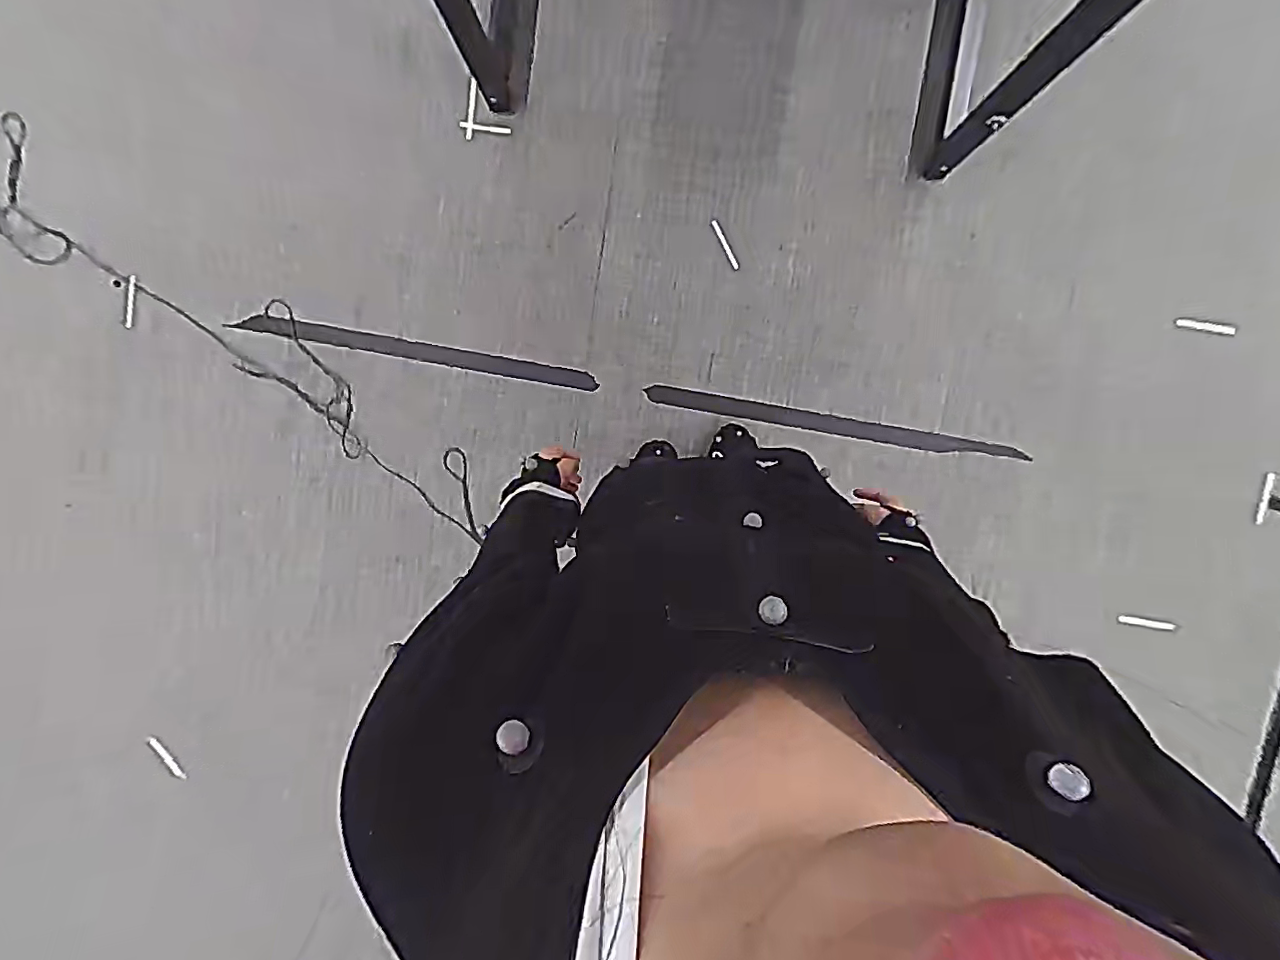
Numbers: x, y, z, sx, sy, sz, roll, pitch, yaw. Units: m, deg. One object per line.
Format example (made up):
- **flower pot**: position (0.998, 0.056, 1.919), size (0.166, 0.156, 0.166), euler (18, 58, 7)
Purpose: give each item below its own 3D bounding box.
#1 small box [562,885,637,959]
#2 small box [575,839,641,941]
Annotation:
- **small box**: position (-0.095, 1.155, 1.340), size (0.168, 0.176, 0.179), euler (-4, 95, 0)
- **small box**: position (-0.084, 1.134, 1.504), size (0.168, 0.176, 0.179), euler (-4, 95, 1)
